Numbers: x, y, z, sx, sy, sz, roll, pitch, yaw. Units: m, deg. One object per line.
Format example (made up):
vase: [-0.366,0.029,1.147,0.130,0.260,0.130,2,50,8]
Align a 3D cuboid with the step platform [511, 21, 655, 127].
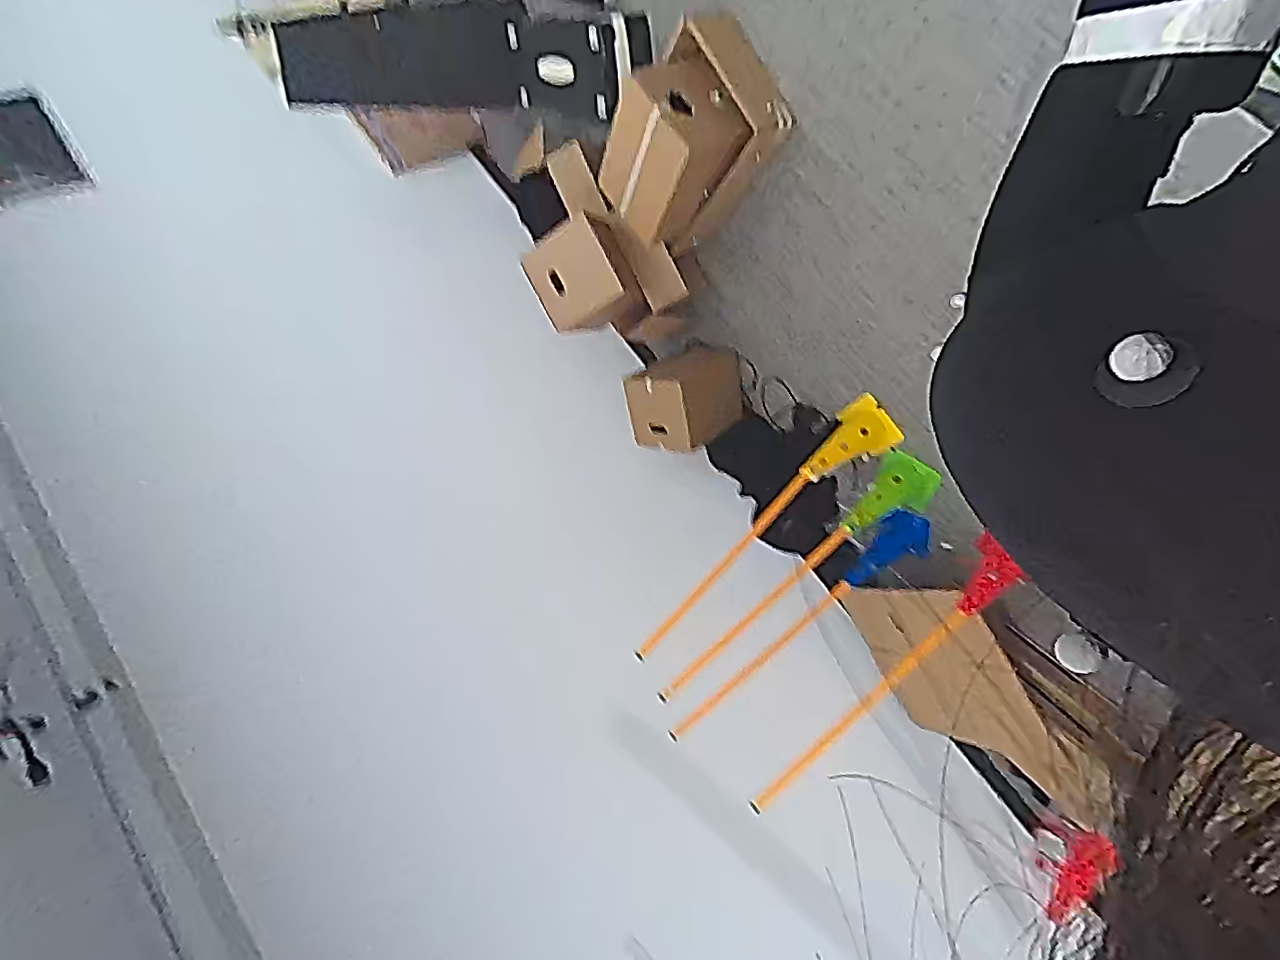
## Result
step platform: [-0.237,-1.556,2.070,0.684,0.204,0.286,36,148,37]
